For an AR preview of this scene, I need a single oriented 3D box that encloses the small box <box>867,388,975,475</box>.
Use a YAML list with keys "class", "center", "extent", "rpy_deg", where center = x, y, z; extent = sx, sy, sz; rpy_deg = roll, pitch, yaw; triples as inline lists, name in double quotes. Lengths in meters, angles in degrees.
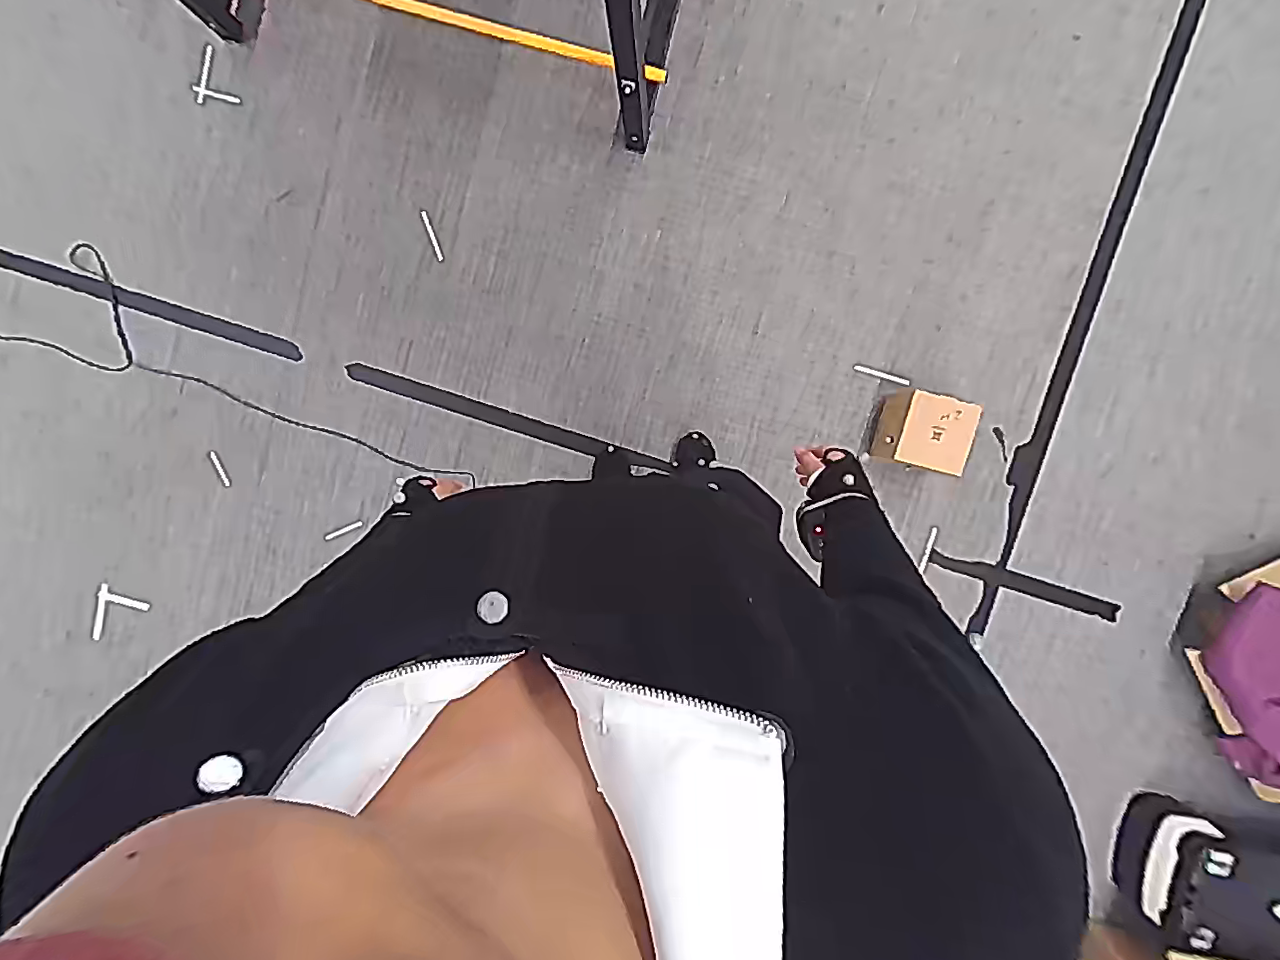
- class: "small box"
  center: [0.702, -0.122, 1.373]
  extent: [0.168, 0.176, 0.179]
  rpy_deg: [16, 95, 1]
